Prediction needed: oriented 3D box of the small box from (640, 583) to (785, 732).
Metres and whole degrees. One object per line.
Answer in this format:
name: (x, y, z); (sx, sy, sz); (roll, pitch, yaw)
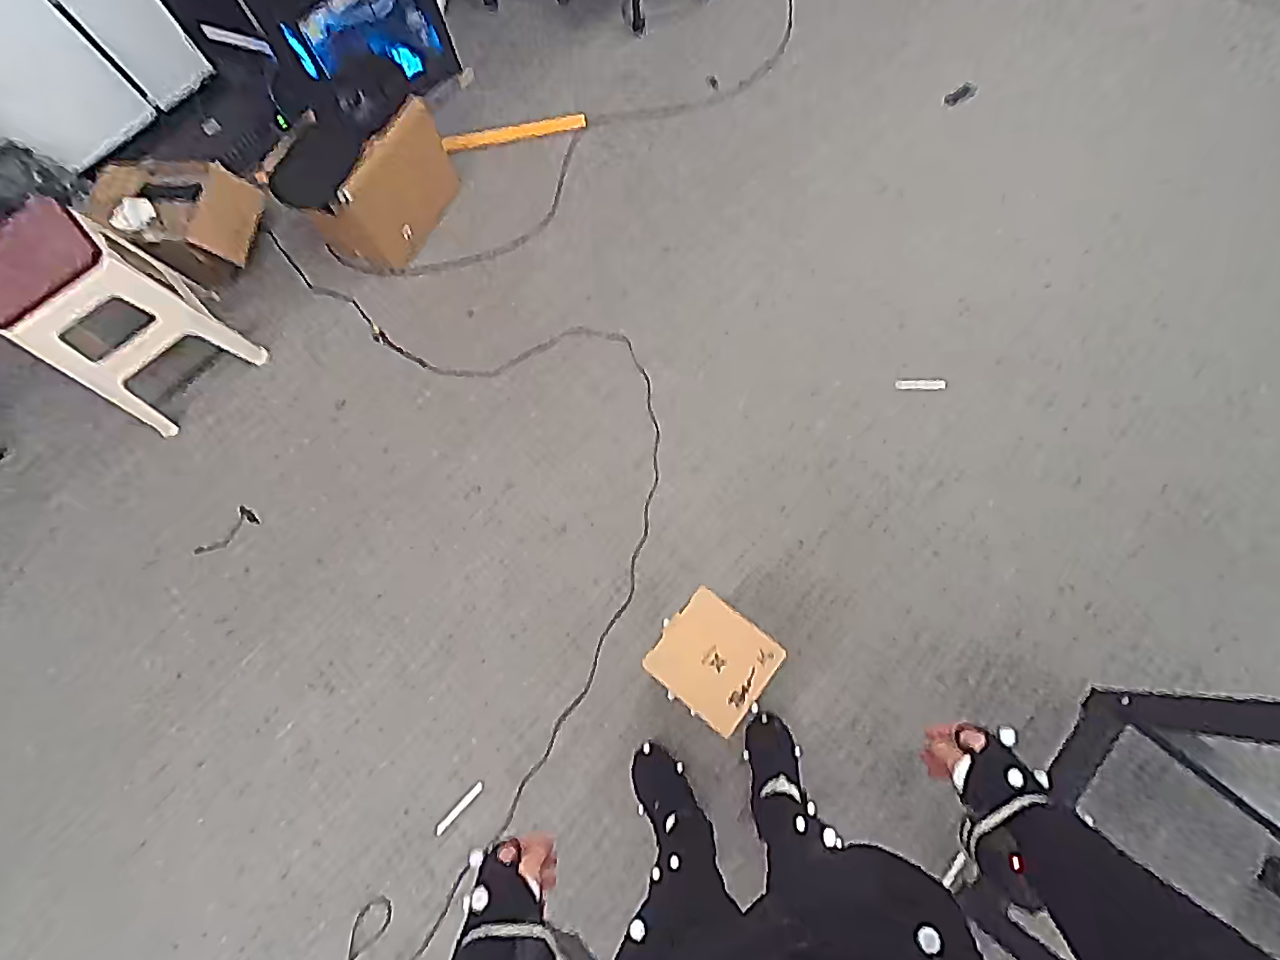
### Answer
small box: (0.121, 0.307, 0.940); (0.179, 0.176, 0.168); (37, 78, 15)
